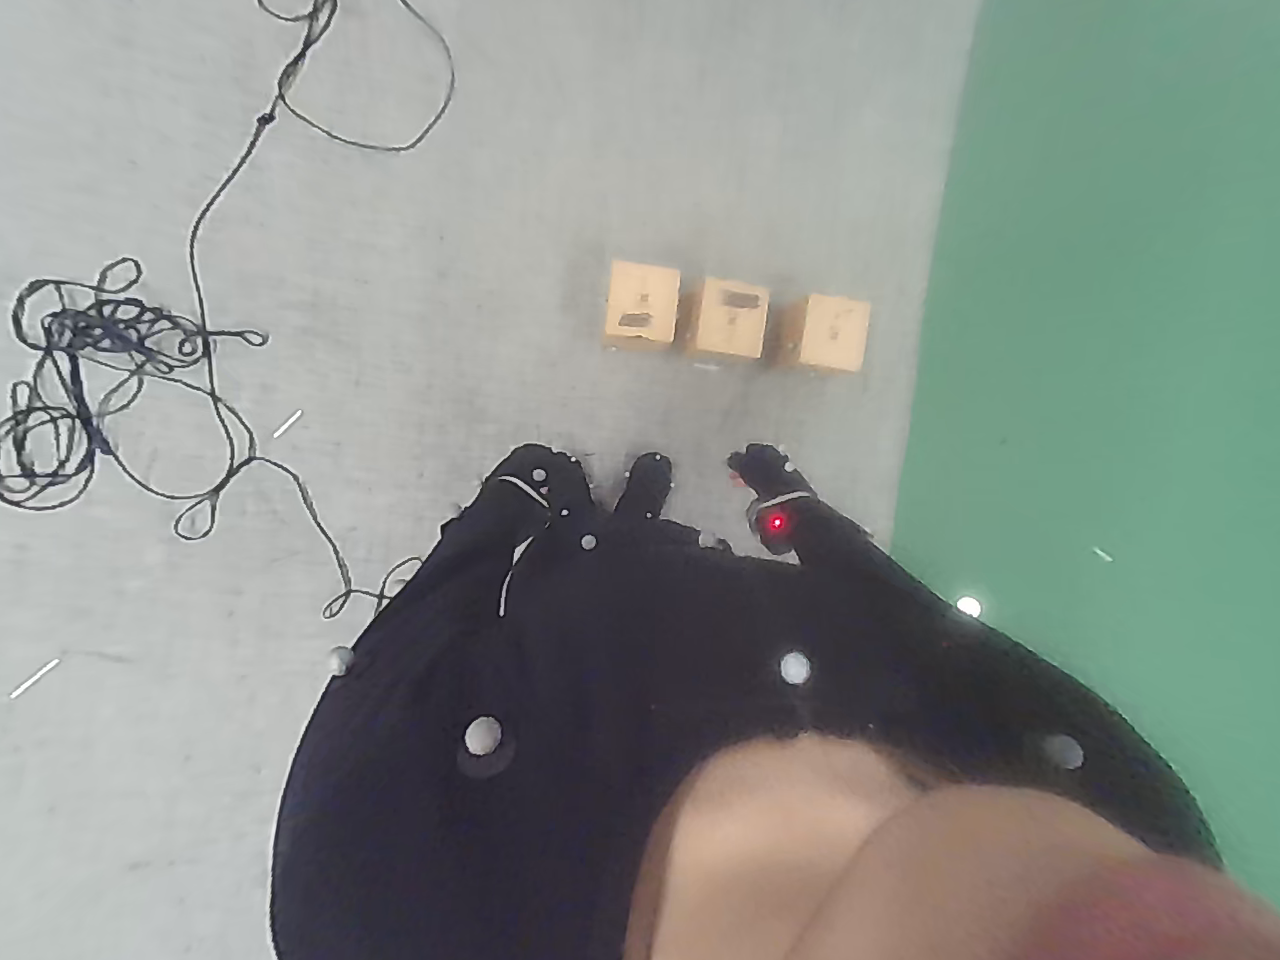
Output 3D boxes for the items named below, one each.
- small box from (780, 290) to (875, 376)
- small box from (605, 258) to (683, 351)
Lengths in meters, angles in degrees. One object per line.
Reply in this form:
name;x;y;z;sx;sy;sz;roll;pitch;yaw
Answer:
small box;0.478;-0.372;1.406;0.168;0.176;0.179;7;93;-7
small box;0.004;-0.429;1.350;0.168;0.176;0.179;6;93;-6
